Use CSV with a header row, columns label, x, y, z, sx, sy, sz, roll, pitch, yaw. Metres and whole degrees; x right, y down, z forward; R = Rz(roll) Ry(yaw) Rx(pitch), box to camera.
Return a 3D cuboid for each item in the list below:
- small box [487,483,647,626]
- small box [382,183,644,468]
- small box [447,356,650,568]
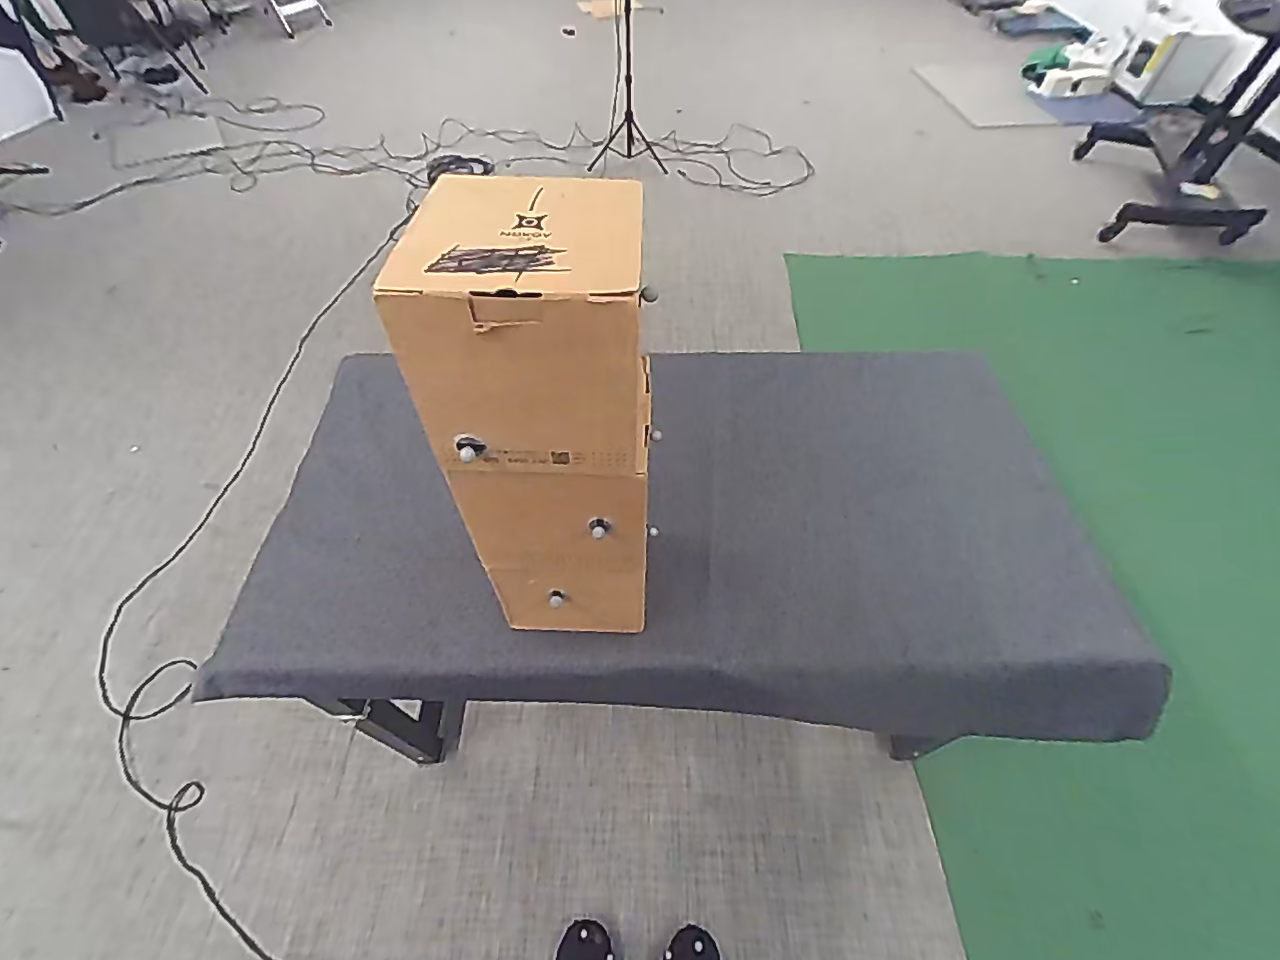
label,x,y,z,sx,sy,sz,roll,pitch,yaw
small box,-0.081,0.081,0.708,0.179,0.176,0.168,2,52,1
small box,-0.082,-0.126,0.455,0.168,0.176,0.179,2,49,0
small box,-0.080,-0.017,0.579,0.179,0.176,0.168,1,50,1
